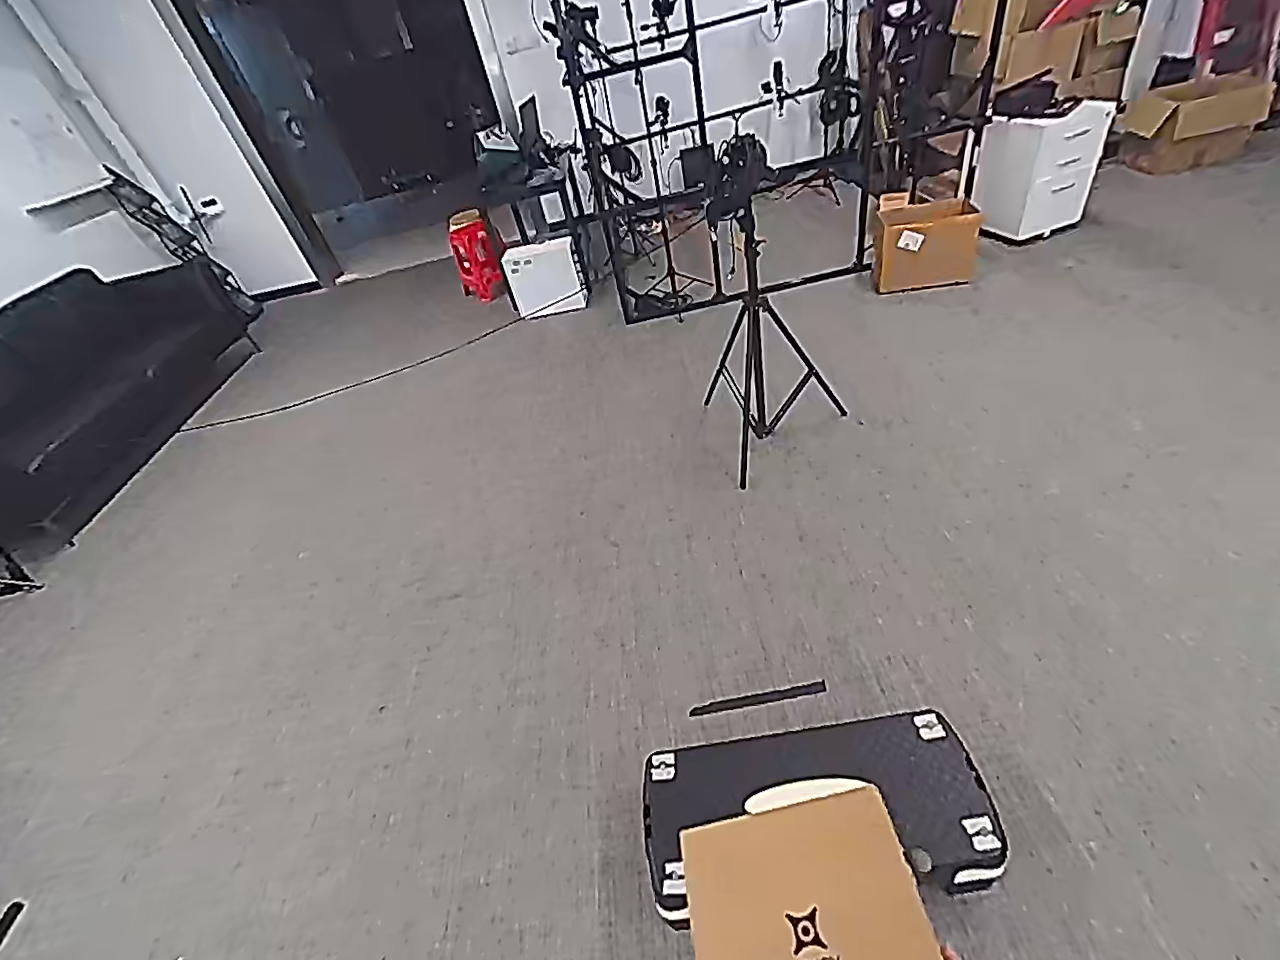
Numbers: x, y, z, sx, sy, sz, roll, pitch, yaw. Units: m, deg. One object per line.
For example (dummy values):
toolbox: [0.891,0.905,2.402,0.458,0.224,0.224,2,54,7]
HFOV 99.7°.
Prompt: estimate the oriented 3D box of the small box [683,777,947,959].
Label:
small box: [0.146,0.368,0.421,0.168,0.176,0.179,-21,39,11]

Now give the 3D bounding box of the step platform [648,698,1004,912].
step platform: [0.358,0.676,1.139,0.684,0.204,0.286,-12,39,5]
